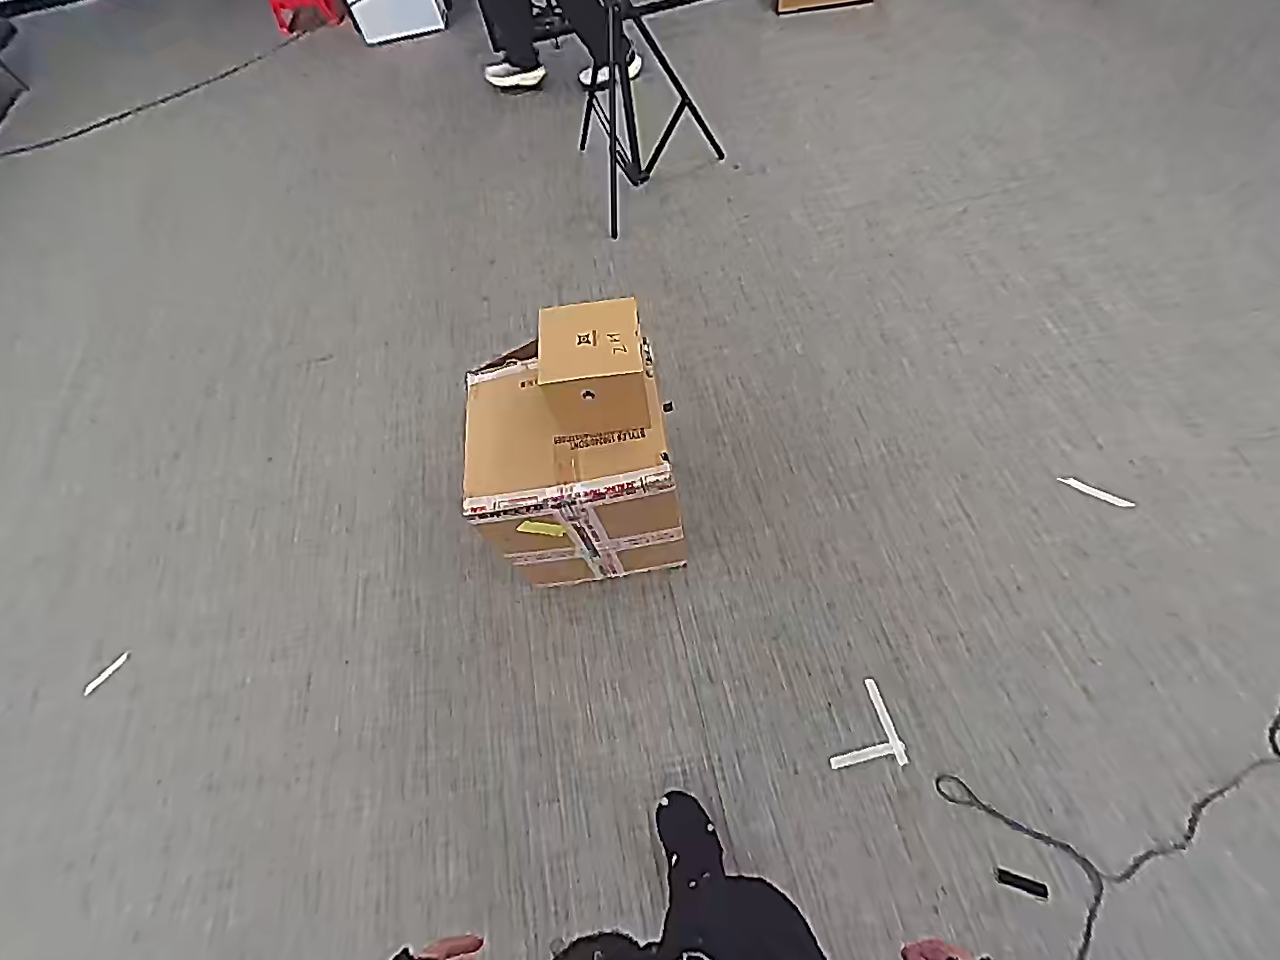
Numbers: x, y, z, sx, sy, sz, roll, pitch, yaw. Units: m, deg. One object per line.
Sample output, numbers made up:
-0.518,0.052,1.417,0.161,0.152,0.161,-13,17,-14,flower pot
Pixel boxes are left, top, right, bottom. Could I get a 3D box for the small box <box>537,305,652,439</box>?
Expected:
-0.078,-0.187,0.979,0.179,0.176,0.168,-7,63,3,small box
